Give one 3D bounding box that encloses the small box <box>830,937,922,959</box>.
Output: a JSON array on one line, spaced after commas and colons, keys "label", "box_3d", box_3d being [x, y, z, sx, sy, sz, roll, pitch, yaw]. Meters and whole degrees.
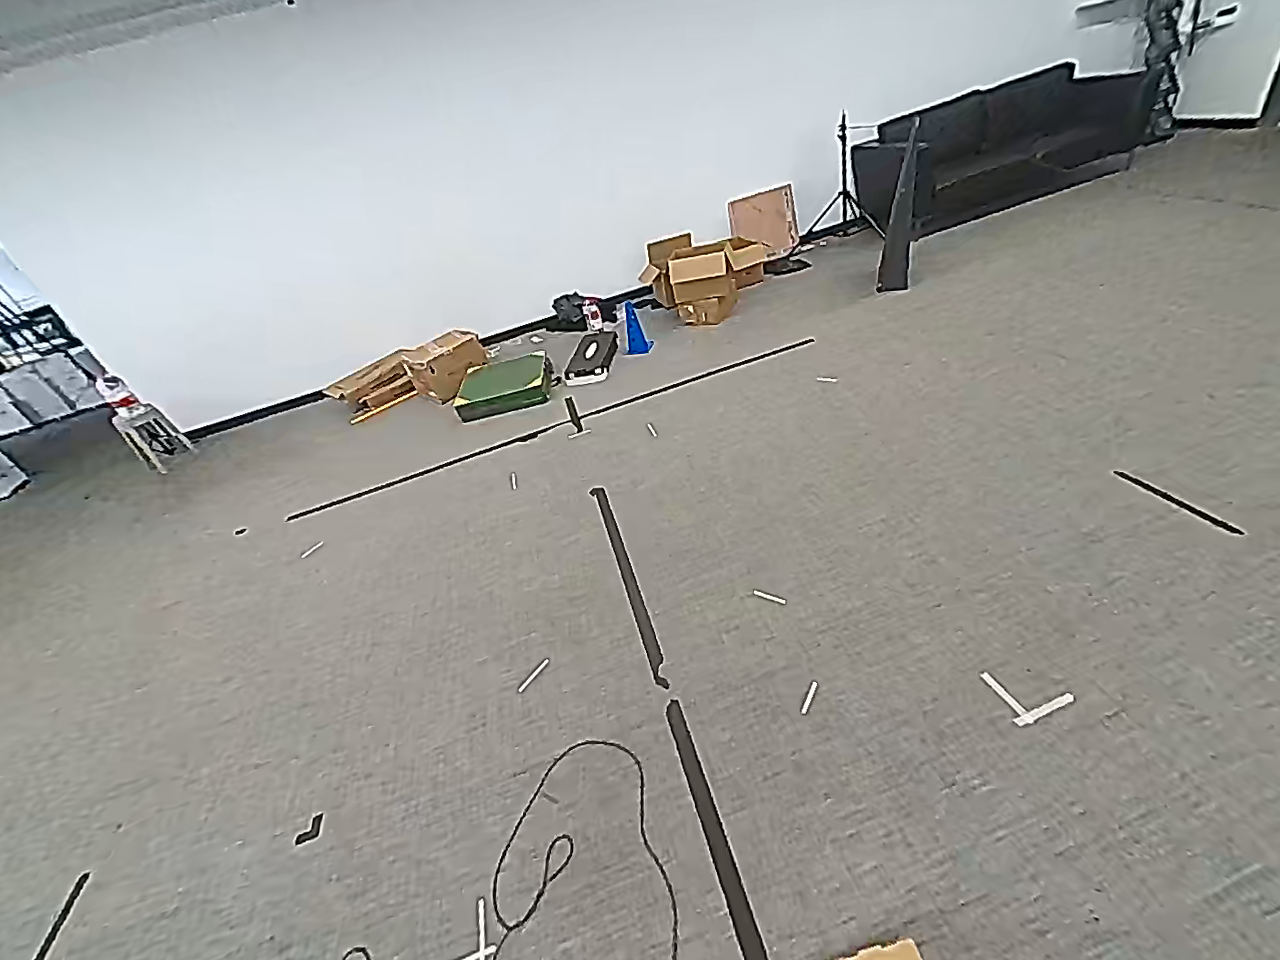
[{"label": "small box", "box_3d": [0.458, 0.983, 0.981, 0.168, 0.176, 0.179, -17, 34, 0]}]
